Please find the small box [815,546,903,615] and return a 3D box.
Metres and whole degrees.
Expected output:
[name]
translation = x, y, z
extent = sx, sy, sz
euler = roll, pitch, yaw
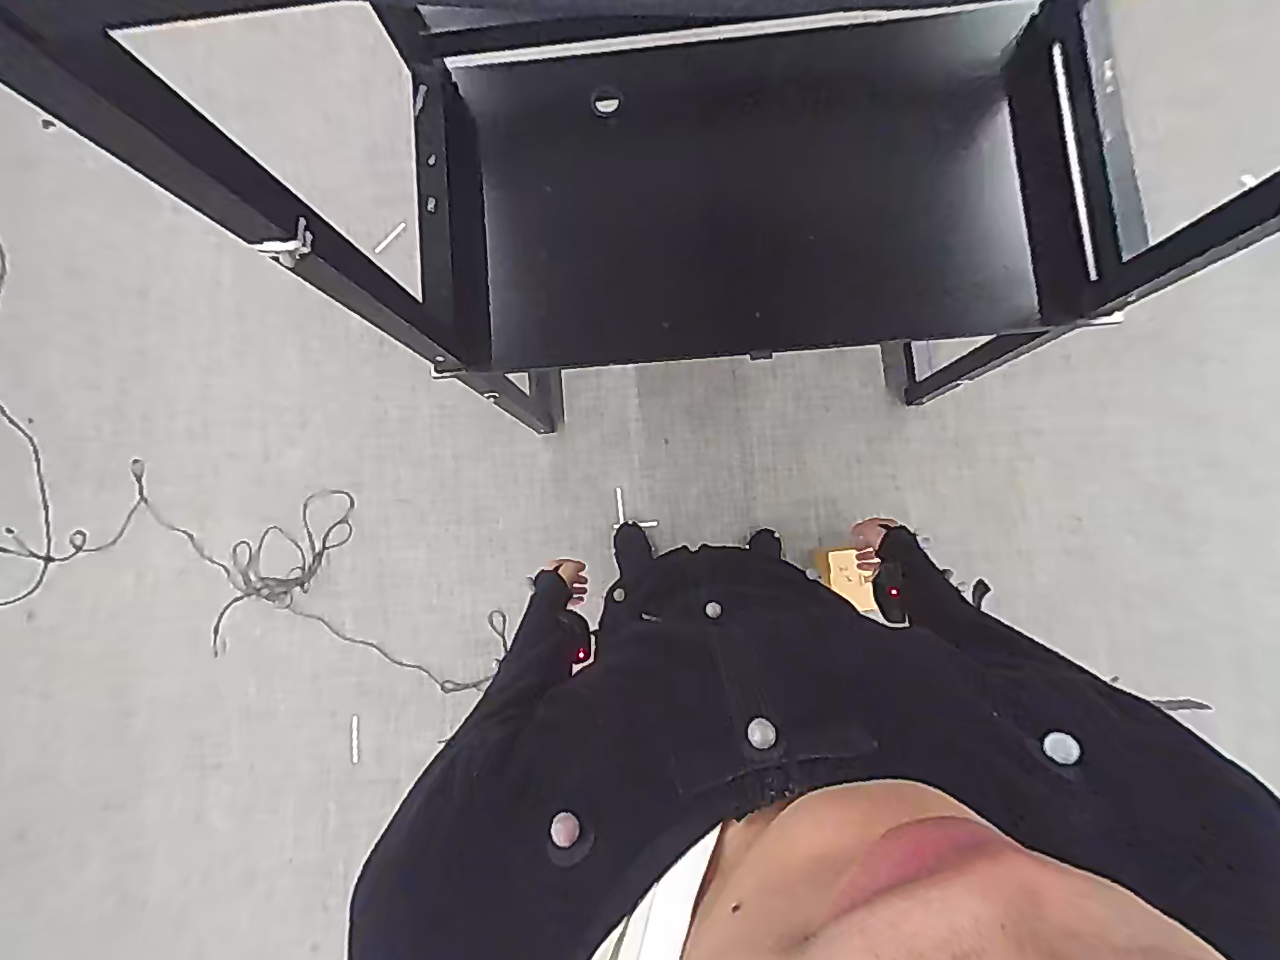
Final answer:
[small box]
translation = 0.612, 0.279, 1.529
extent = 0.179, 0.176, 0.168
euler = -6, 85, 4
